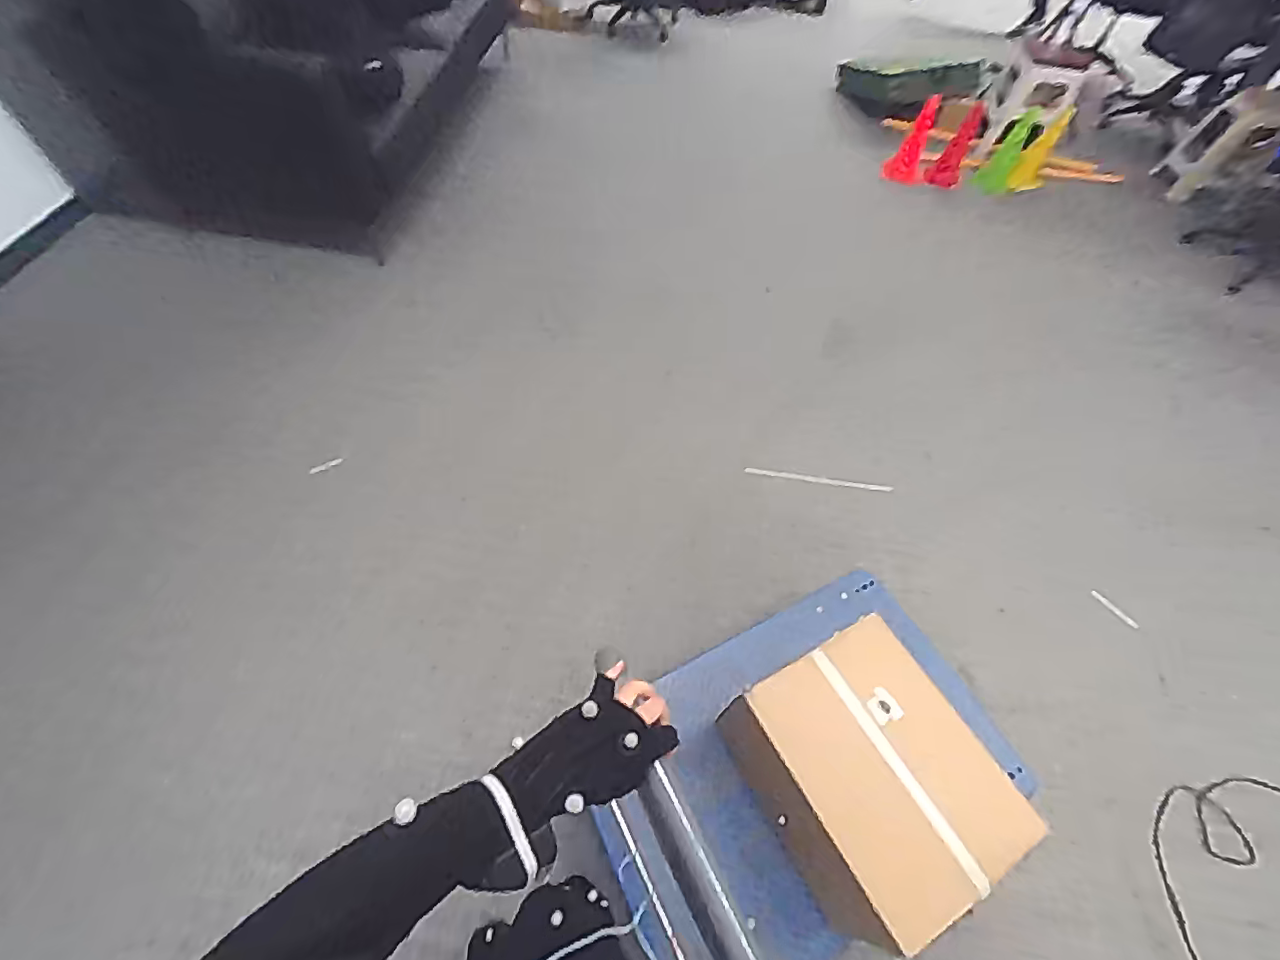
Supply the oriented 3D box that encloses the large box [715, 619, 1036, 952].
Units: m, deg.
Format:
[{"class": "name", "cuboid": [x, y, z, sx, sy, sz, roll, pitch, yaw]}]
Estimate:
[{"class": "large box", "cuboid": [0.393, 0.550, 1.019, 0.320, 0.320, 0.408, -23, 59, -18]}]
